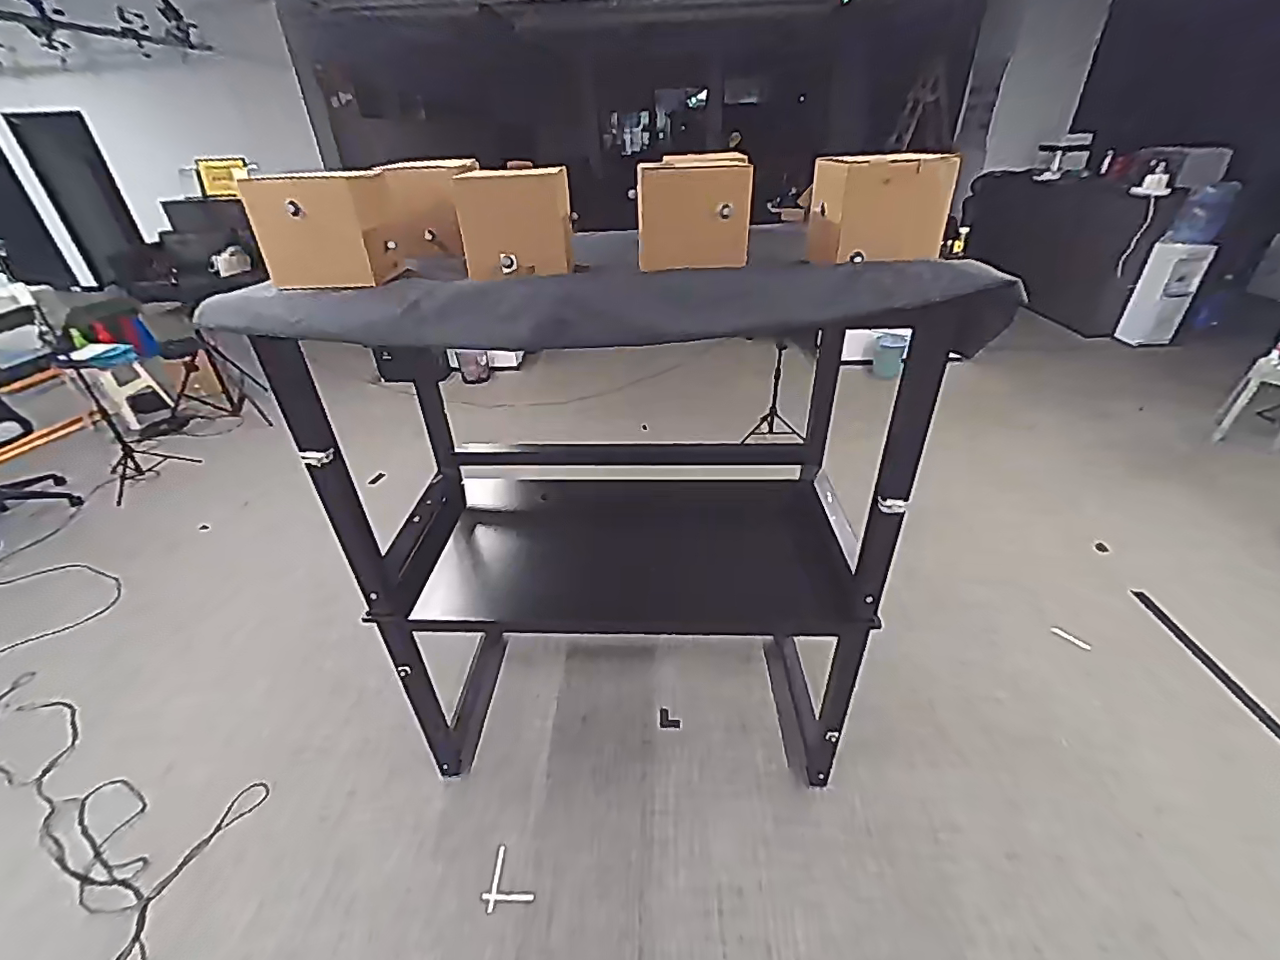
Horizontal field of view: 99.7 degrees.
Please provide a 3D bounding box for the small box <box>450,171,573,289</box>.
[{"bbox_3d":[-0.209,-0.433,0.934,0.168,0.176,0.179,-4,32,-1],"label":"small box"}]

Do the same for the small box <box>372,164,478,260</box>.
[{"bbox_3d":[-0.447,-0.587,1.184,0.179,0.176,0.168,-1,33,0],"label":"small box"}]

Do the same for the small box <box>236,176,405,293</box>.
[{"bbox_3d":[-0.540,-0.430,0.945,0.179,0.176,0.168,-2,32,-1],"label":"small box"}]

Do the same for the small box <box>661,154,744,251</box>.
[{"bbox_3d":[0.131,-0.598,1.169,0.168,0.176,0.179,-1,33,2],"label":"small box"}]

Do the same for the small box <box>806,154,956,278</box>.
[{"bbox_3d":[0.387,-0.439,0.905,0.168,0.176,0.179,-2,32,1],"label":"small box"}]
